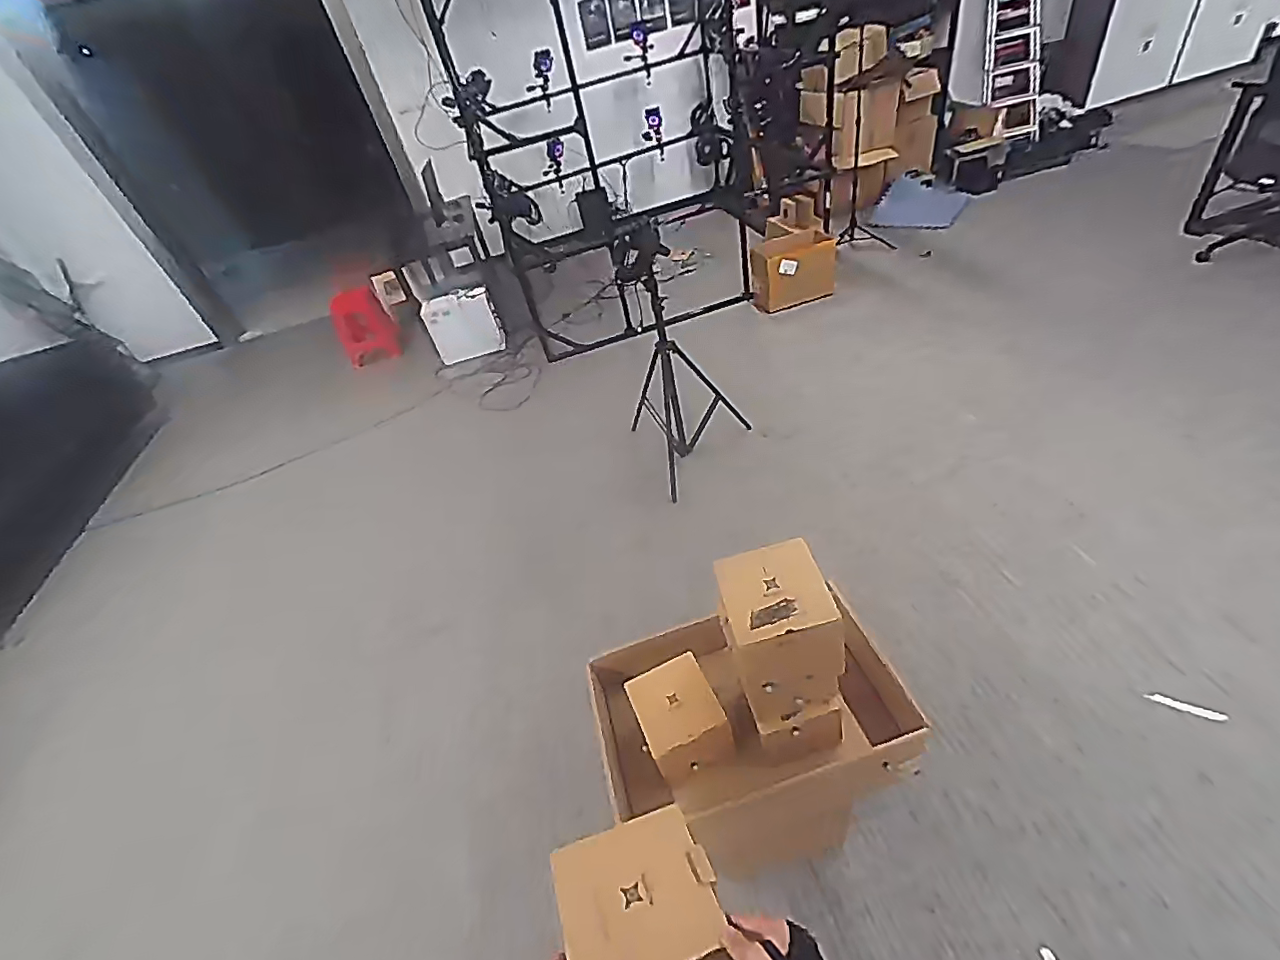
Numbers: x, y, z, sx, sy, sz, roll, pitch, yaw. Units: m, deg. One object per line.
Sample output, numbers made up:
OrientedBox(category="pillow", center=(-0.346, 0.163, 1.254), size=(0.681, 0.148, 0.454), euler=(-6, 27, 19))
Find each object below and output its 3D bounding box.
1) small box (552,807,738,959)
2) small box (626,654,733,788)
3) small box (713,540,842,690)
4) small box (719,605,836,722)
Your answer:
OrientedBox(category="small box", center=(0.005, 0.546, 0.647), size=(0.179, 0.176, 0.168), euler=(-14, 25, -13))
OrientedBox(category="small box", center=(0.086, 0.519, 1.163), size=(0.168, 0.176, 0.179), euler=(-23, 42, -10))
OrientedBox(category="small box", center=(0.235, 0.238, 0.925), size=(0.168, 0.176, 0.179), euler=(-16, 40, 4))
OrientedBox(category="small box", center=(0.267, 0.336, 1.058), size=(0.168, 0.176, 0.179), euler=(-20, 41, 0))
